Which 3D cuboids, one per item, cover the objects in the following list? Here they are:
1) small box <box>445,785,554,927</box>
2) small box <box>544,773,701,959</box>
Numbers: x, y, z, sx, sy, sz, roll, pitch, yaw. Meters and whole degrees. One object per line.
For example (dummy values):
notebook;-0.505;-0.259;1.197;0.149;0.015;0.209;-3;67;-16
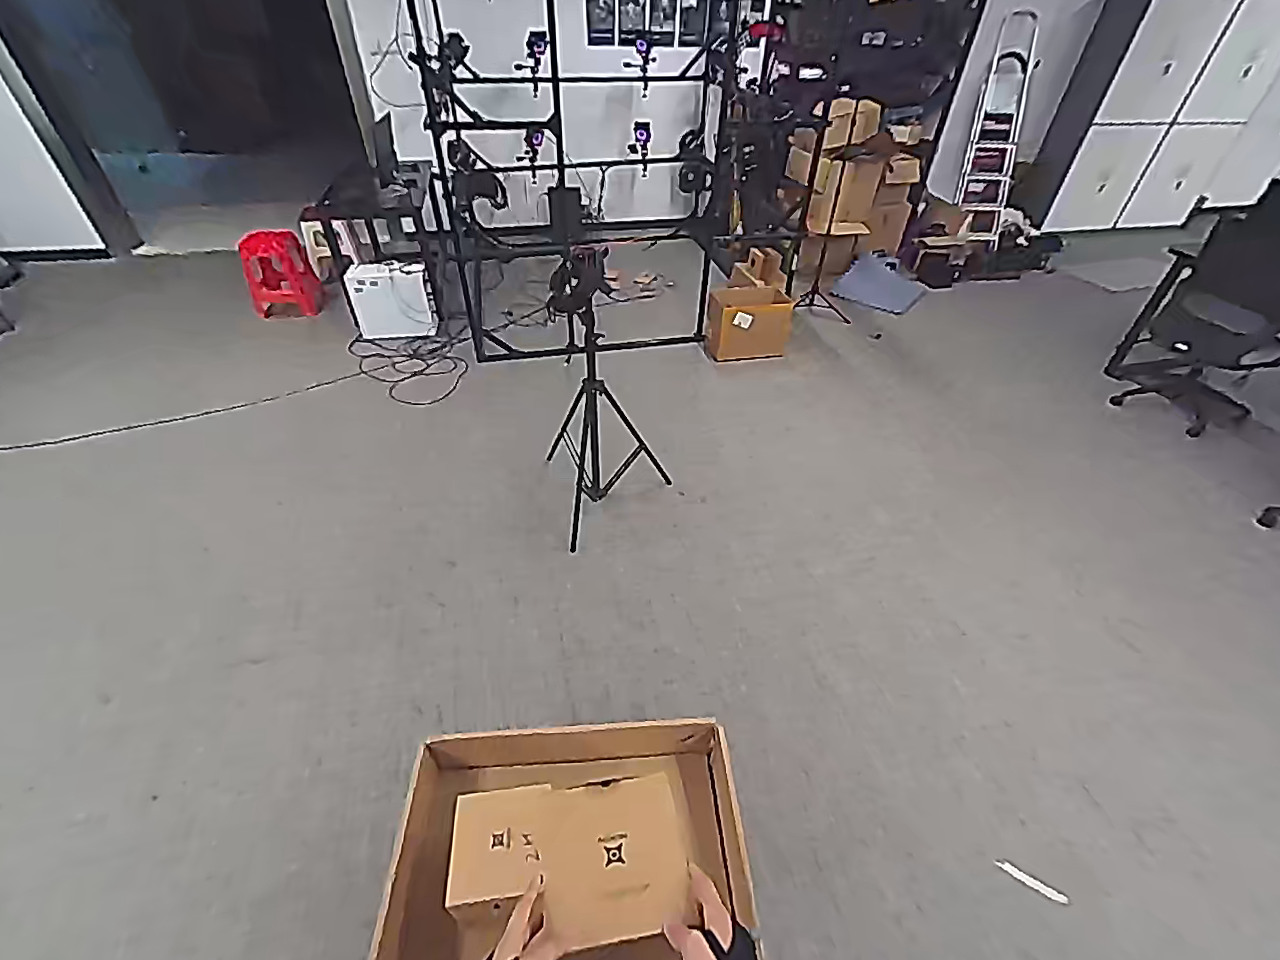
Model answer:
small box;-0.238;0.683;0.982;0.179;0.176;0.168;-3;41;-7
small box;-0.030;0.503;0.664;0.168;0.176;0.179;-4;28;-8
